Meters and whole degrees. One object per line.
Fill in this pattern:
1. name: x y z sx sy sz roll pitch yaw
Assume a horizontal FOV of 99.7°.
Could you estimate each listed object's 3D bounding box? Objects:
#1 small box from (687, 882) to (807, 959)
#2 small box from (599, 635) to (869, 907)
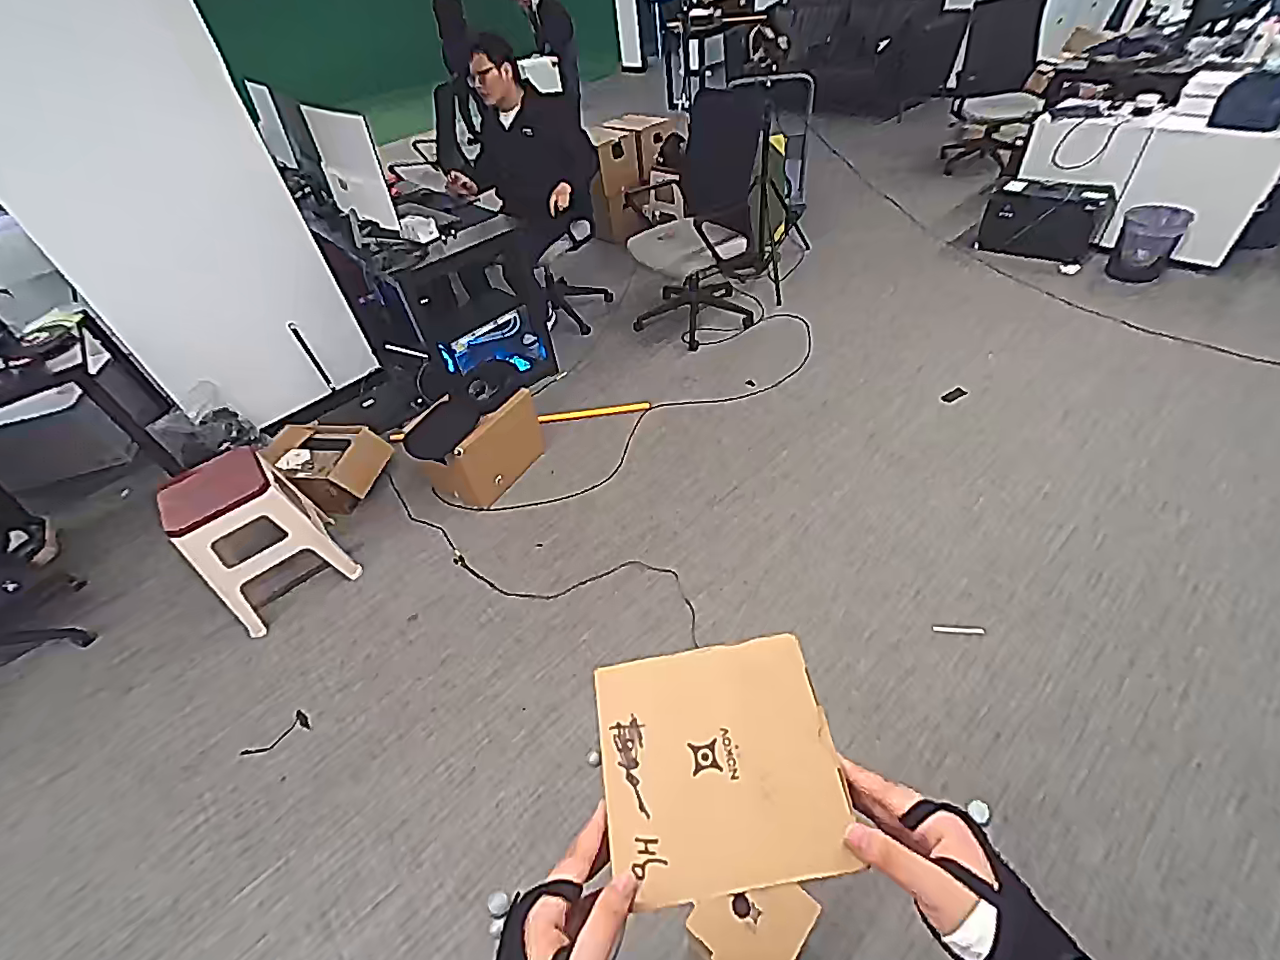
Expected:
1. small box: 0.212 0.913 1.093 0.168 0.176 0.179 32 58 33
2. small box: 0.068 0.257 0.478 0.179 0.176 0.168 -10 52 -1
